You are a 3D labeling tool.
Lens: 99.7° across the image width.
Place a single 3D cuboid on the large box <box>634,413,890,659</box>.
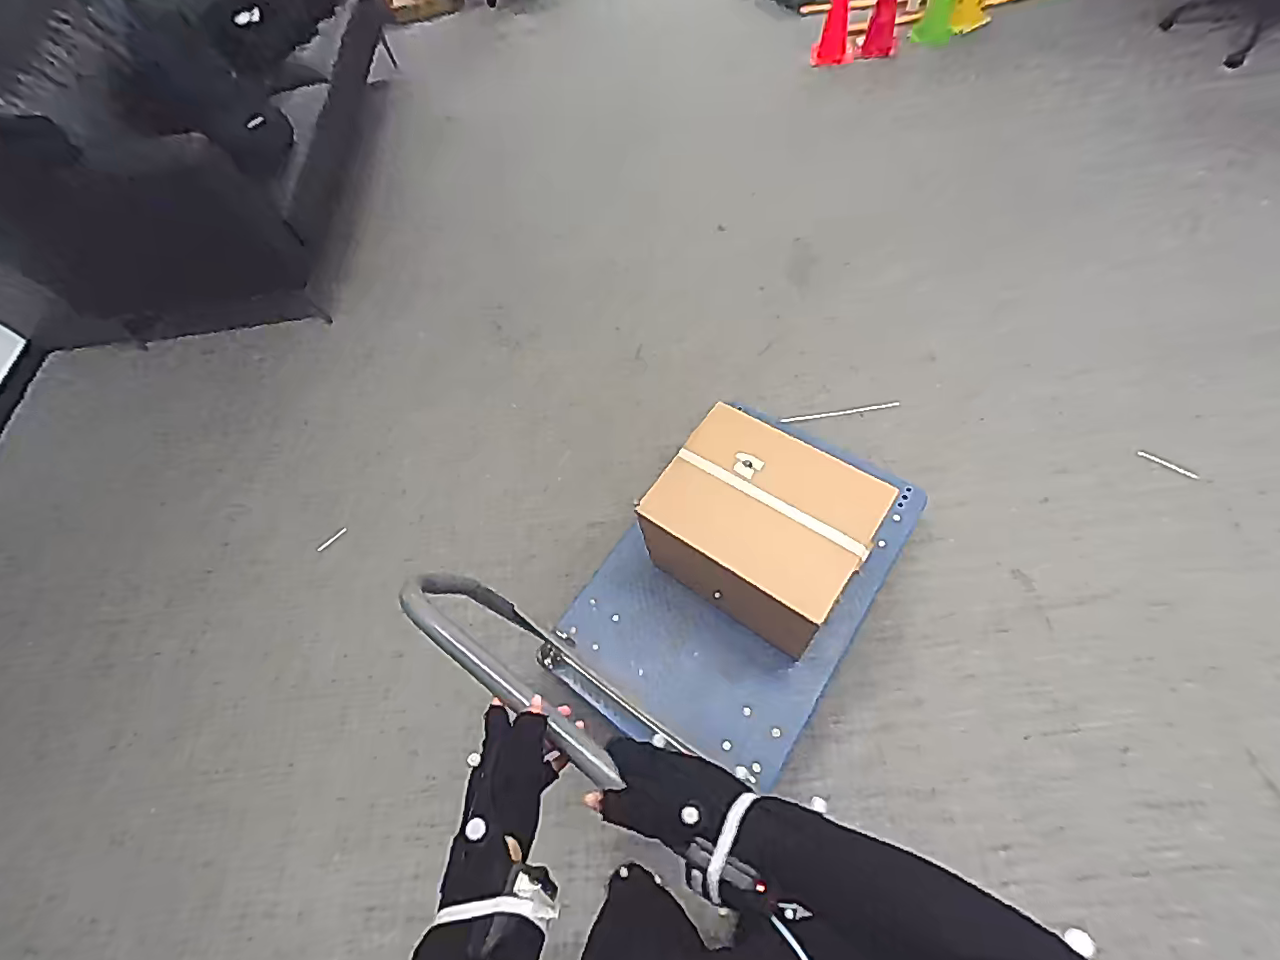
[{"bbox_3d":[0.255,0.126,1.181,0.408,0.320,0.320,30,69,24],"label":"large box"}]
